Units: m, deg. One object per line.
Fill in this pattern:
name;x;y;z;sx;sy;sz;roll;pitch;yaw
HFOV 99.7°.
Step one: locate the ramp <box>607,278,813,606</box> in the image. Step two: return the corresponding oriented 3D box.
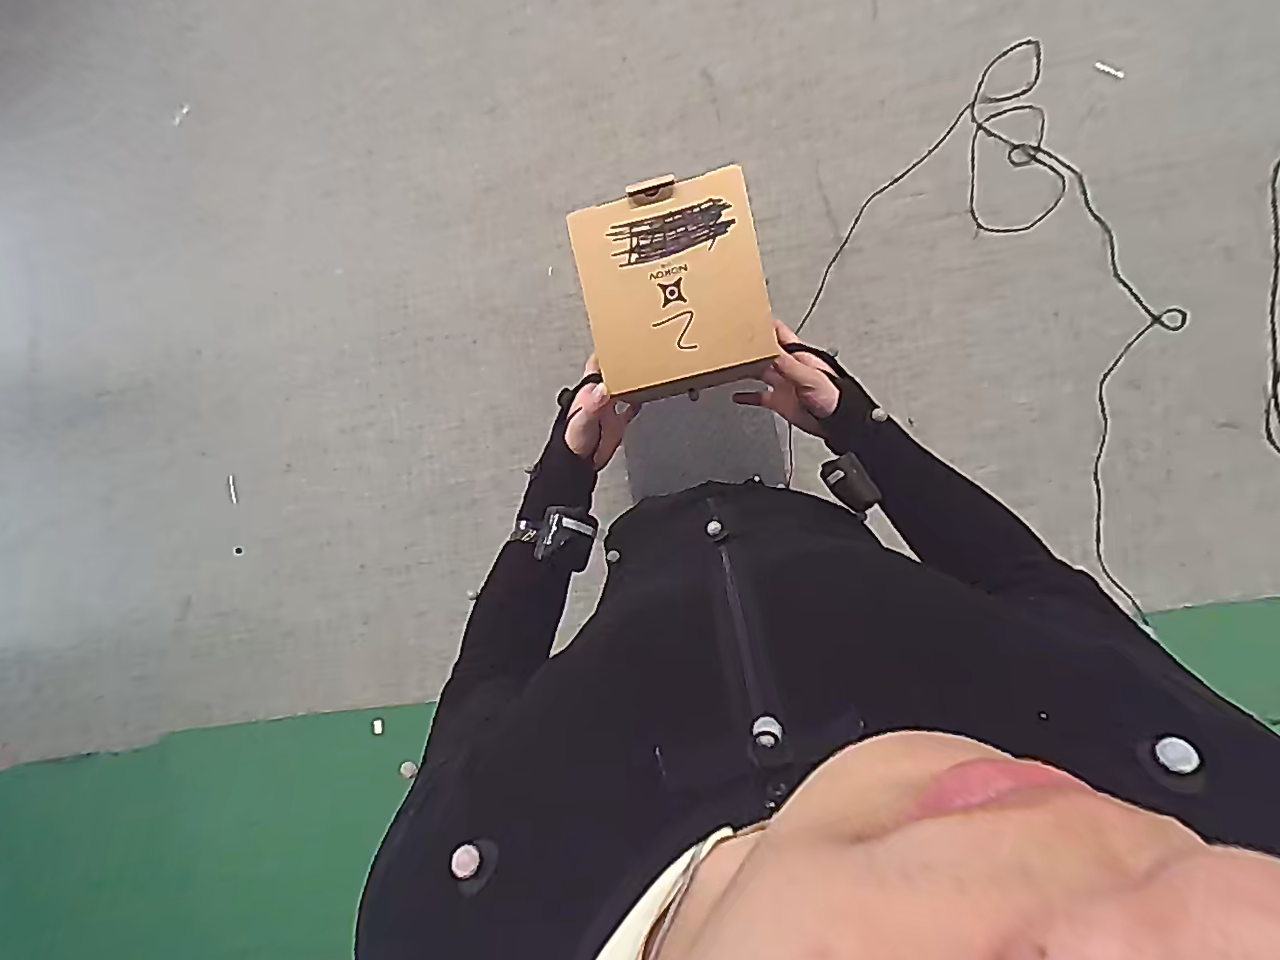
ramp;0.195;-0.138;1.711;0.509;0.206;0.991;-12;89;8
